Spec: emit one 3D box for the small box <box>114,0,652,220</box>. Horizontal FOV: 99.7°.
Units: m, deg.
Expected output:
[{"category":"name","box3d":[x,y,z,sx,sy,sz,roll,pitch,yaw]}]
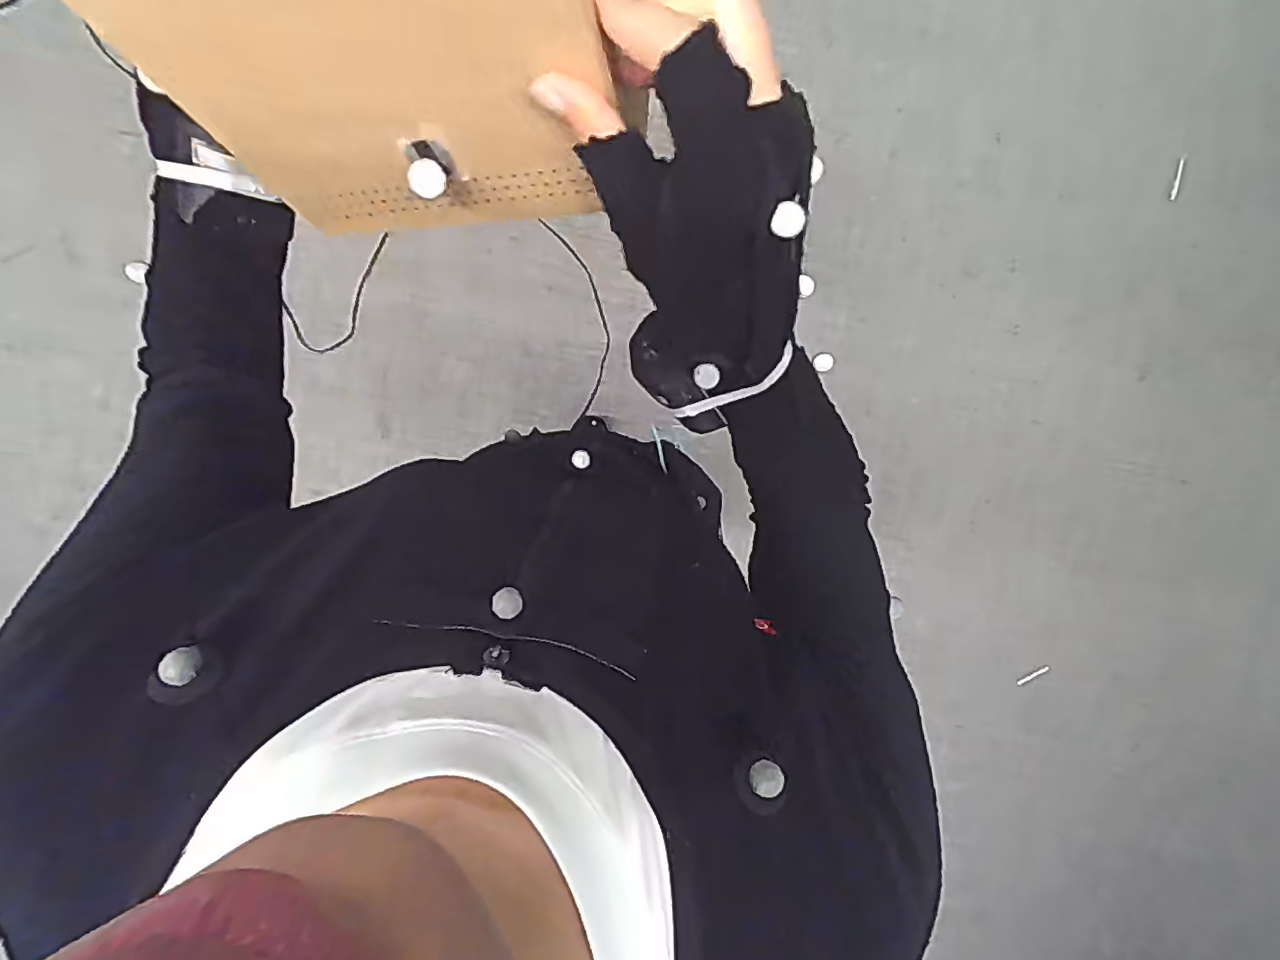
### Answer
[{"category":"small box","box3d":[-0.090,-0.237,0.224,0.179,0.176,0.168,0,75,11]}]
